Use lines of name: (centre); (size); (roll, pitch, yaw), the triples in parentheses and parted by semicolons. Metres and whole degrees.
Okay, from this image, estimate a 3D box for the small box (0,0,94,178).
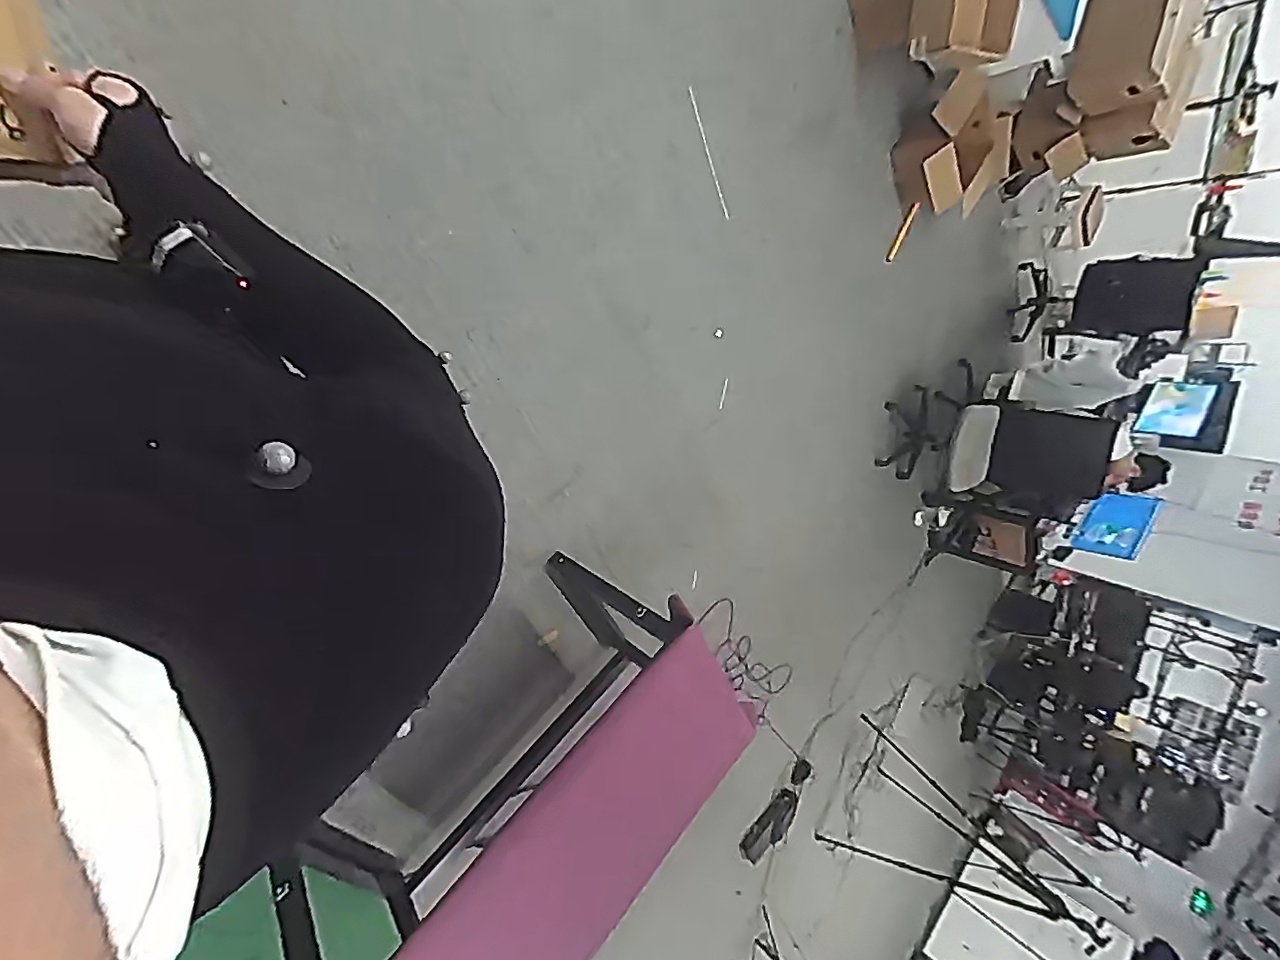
small box: (-0.593, -0.358, 0.437); (0.168, 0.176, 0.179); (-15, 118, -32)
